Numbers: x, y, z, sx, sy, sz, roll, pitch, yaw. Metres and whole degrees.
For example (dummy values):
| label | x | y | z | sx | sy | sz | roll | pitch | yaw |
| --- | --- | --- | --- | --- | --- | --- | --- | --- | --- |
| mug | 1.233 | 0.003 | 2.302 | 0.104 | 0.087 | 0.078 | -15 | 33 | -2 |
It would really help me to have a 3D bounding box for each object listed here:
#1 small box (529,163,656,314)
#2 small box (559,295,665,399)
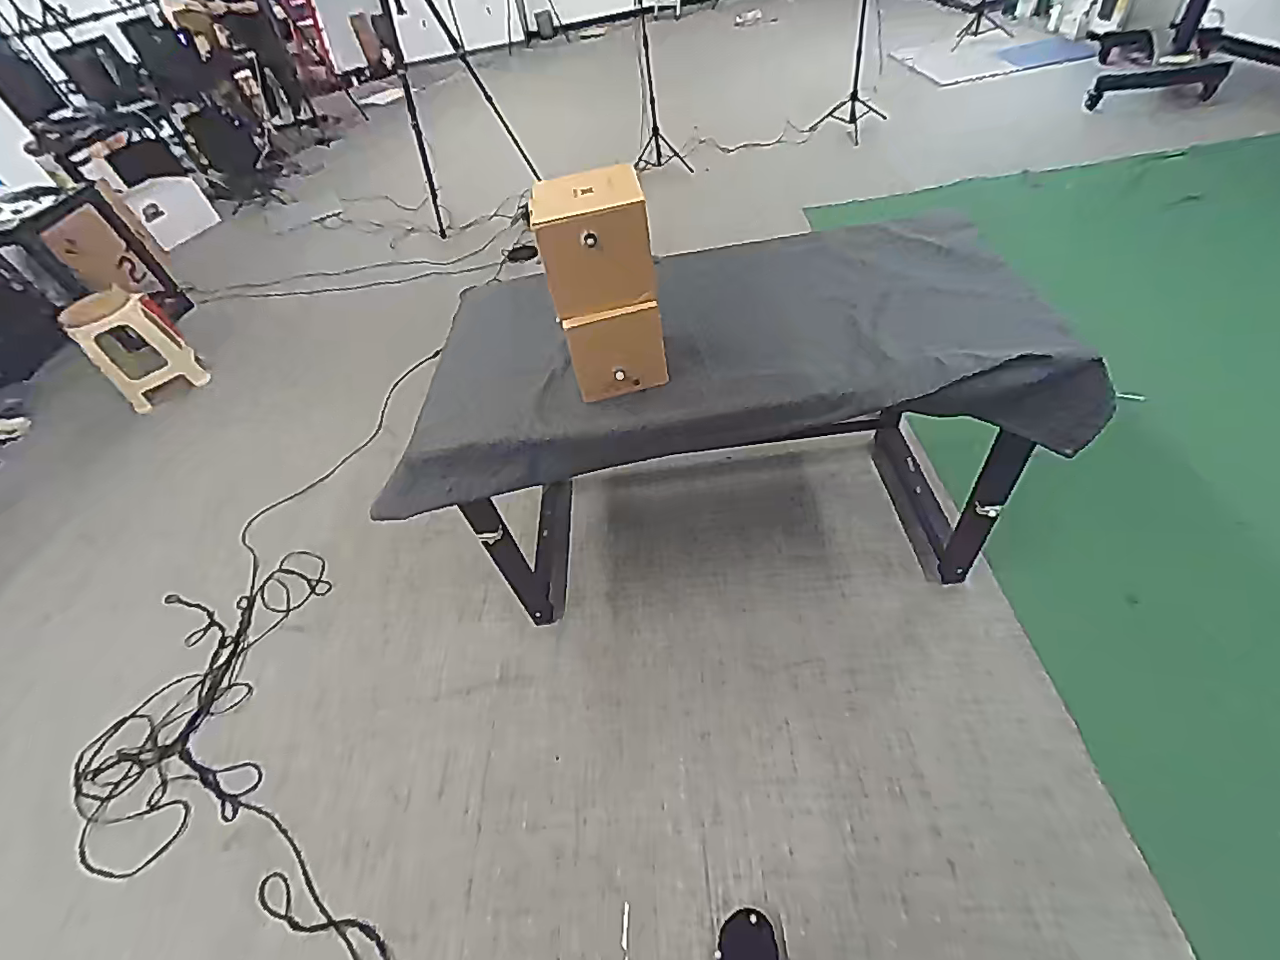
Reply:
| label | x | y | z | sx | sy | sz | roll | pitch | yaw |
| --- | --- | --- | --- | --- | --- | --- | --- | --- | --- |
| small box | -0.078 | -0.399 | 0.907 | 0.179 | 0.176 | 0.168 | -11 | 49 | 0 |
| small box | -0.057 | -0.281 | 1.017 | 0.168 | 0.176 | 0.179 | -15 | 48 | -2 |
